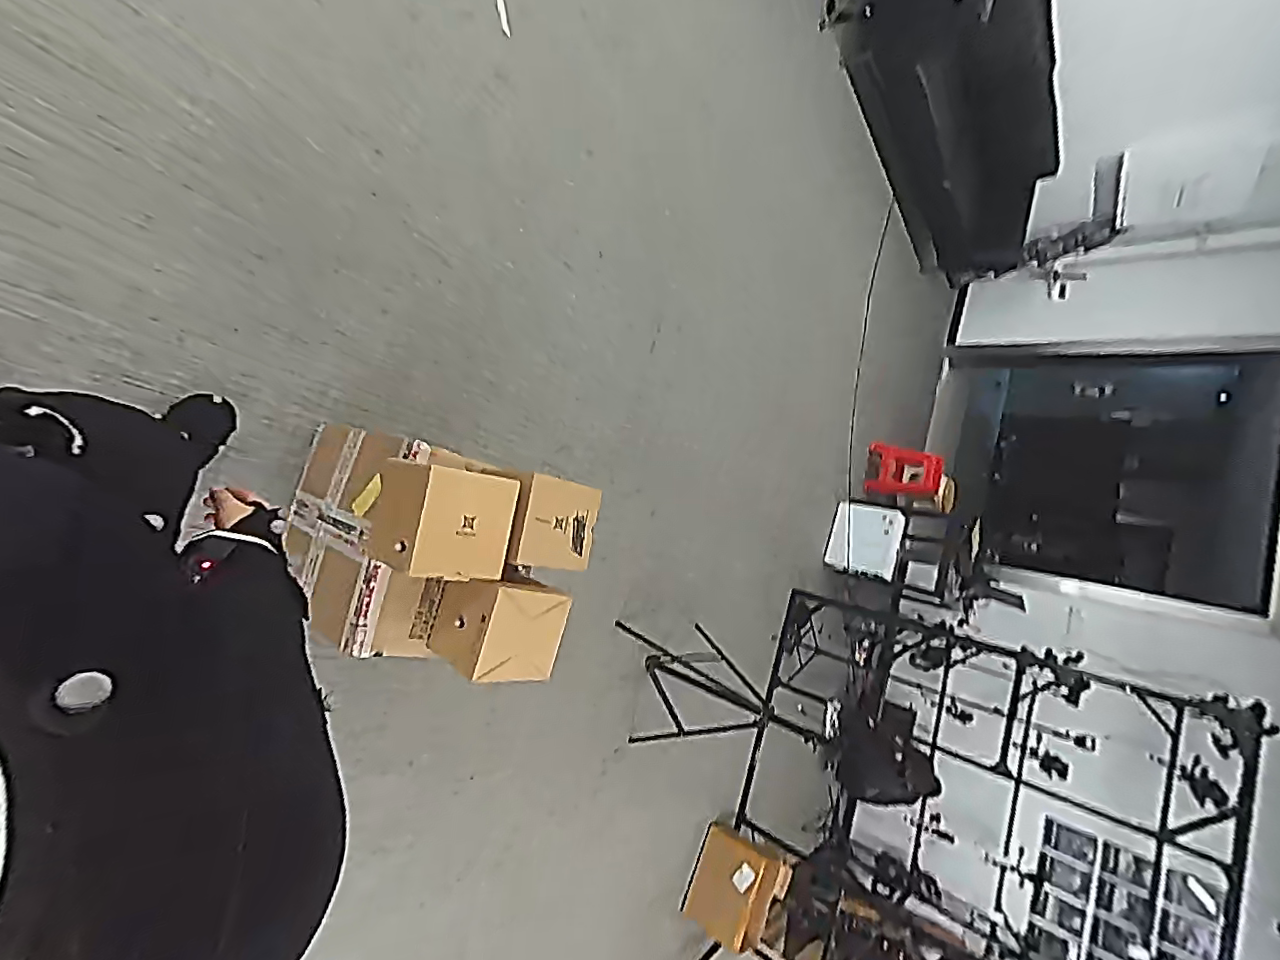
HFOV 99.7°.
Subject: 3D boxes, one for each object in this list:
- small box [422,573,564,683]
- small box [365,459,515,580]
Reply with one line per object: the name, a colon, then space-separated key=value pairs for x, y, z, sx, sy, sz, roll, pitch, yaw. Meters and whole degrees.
small box: x=-0.275 y=0.273 z=1.026 sx=0.179 sy=0.176 sz=0.168 roll=22 pitch=83 yaw=-48
small box: x=-0.343 y=0.065 z=0.921 sx=0.168 sy=0.176 sz=0.179 roll=14 pitch=86 yaw=-47
